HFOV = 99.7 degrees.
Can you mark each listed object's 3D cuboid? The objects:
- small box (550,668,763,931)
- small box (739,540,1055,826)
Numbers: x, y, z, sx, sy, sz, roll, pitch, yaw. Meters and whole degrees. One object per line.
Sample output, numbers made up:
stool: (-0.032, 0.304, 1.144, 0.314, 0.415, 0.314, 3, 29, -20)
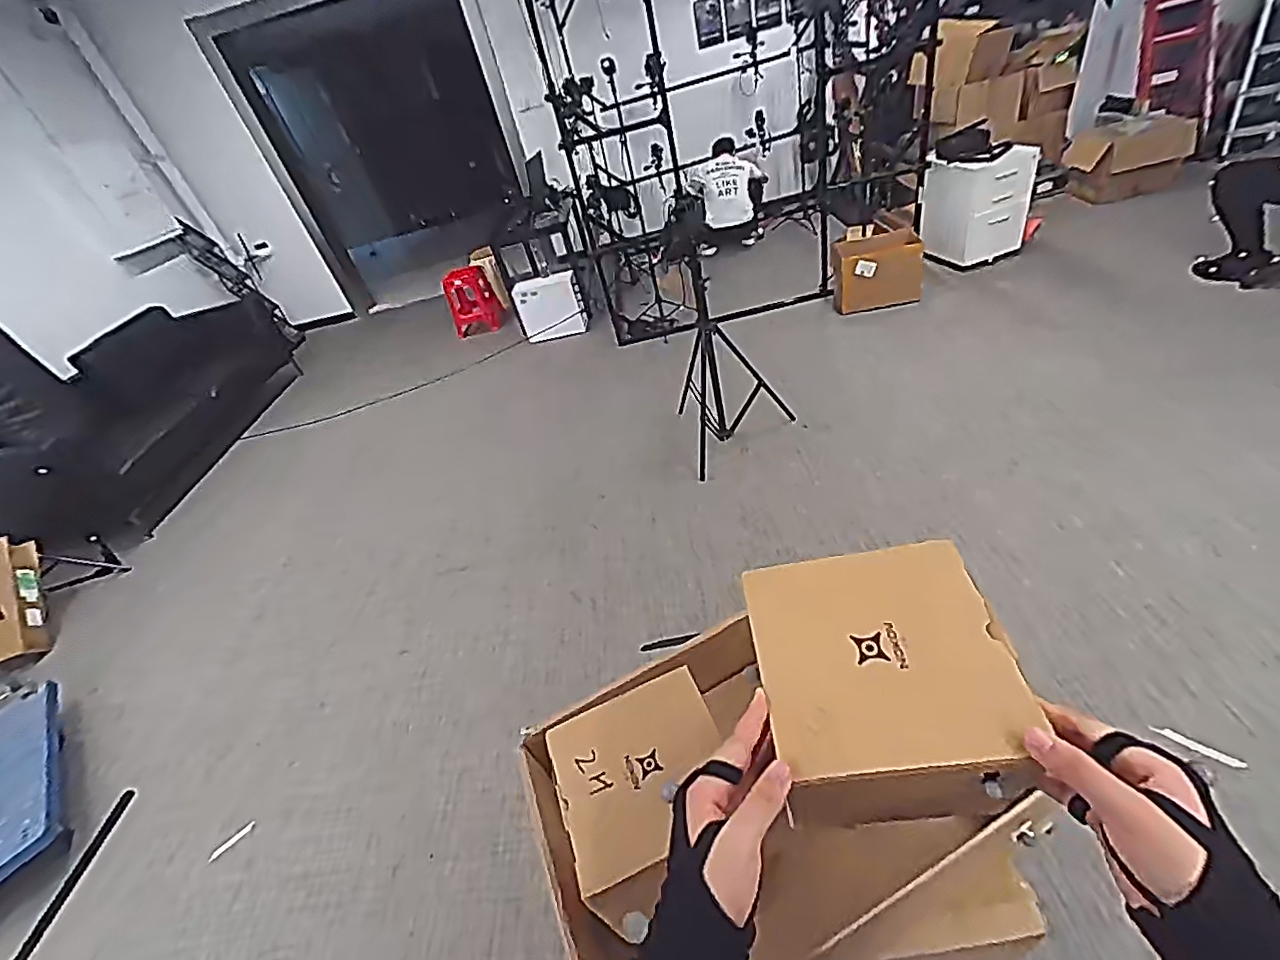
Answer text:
small box: (0.022, 0.349, 0.595, 0.179, 0.176, 0.168, -23, 39, -7)
small box: (0.191, 0.176, 0.456, 0.179, 0.176, 0.168, -11, 46, 8)
